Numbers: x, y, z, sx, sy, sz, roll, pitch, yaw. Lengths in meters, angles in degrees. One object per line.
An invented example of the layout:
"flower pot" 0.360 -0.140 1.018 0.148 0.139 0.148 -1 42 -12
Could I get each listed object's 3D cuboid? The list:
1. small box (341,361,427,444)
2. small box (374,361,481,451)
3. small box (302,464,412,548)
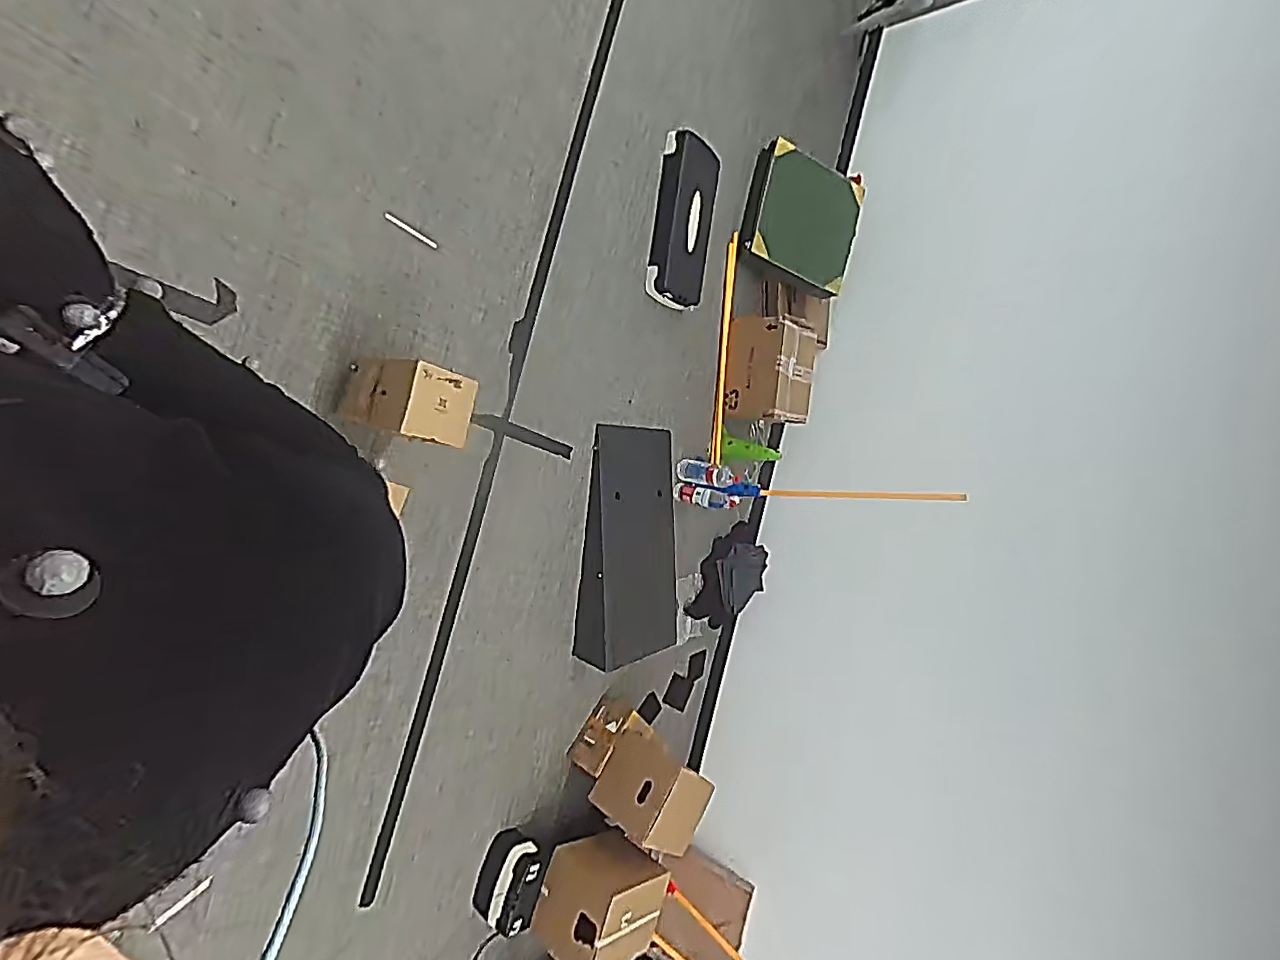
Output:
"small box" -0.657 -0.205 1.434 0.179 0.176 0.168 24 81 -51
"small box" -0.528 -0.184 1.333 0.168 0.176 0.179 16 87 -51
"small box" -0.738 0.064 1.406 0.179 0.176 0.168 29 77 -50
